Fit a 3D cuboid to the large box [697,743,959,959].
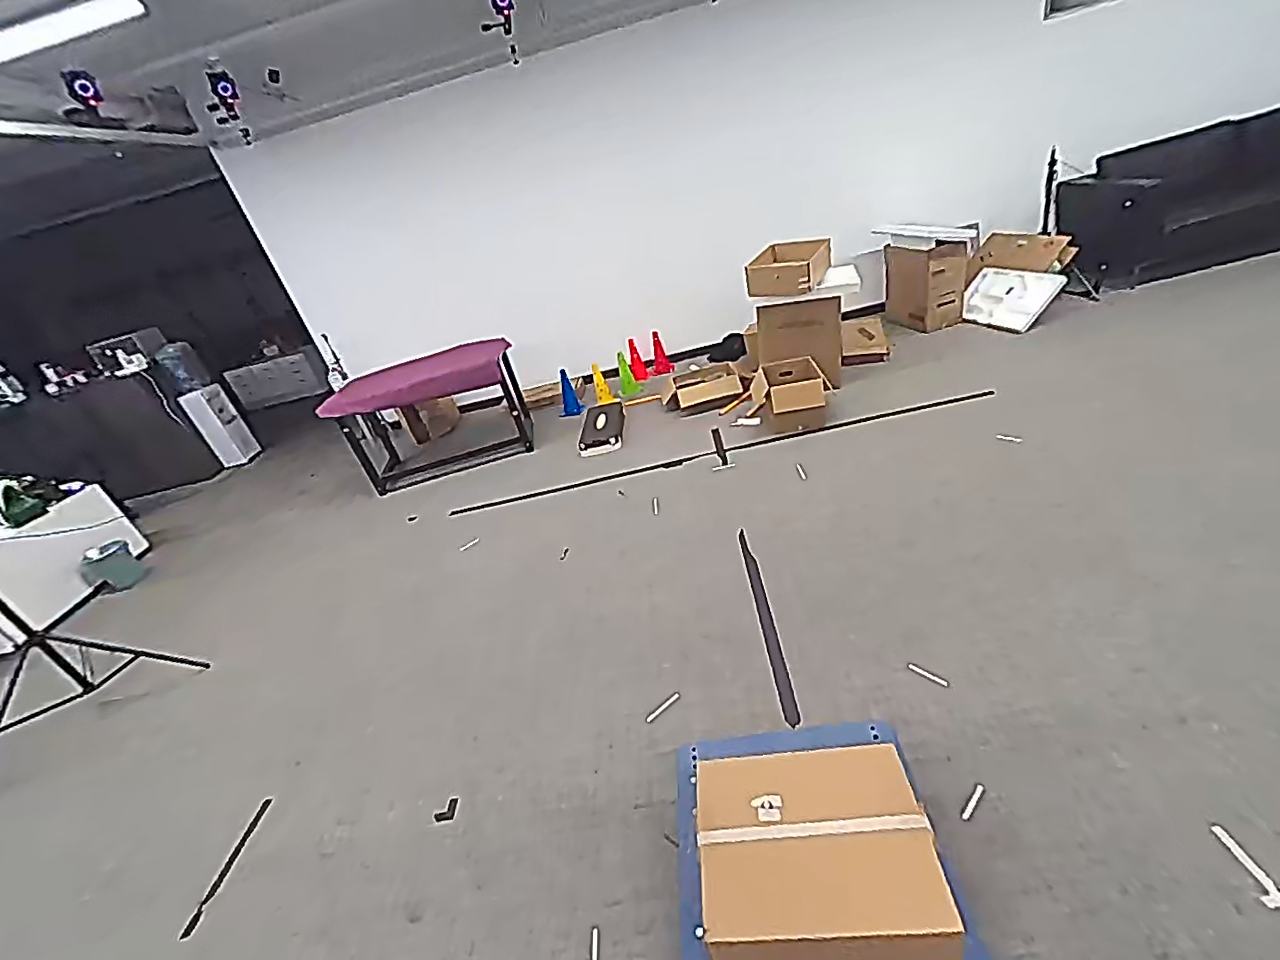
[{"bbox_3d":[0.348,0.776,1.069,0.408,0.320,0.320,-12,28,9],"label":"large box"}]
